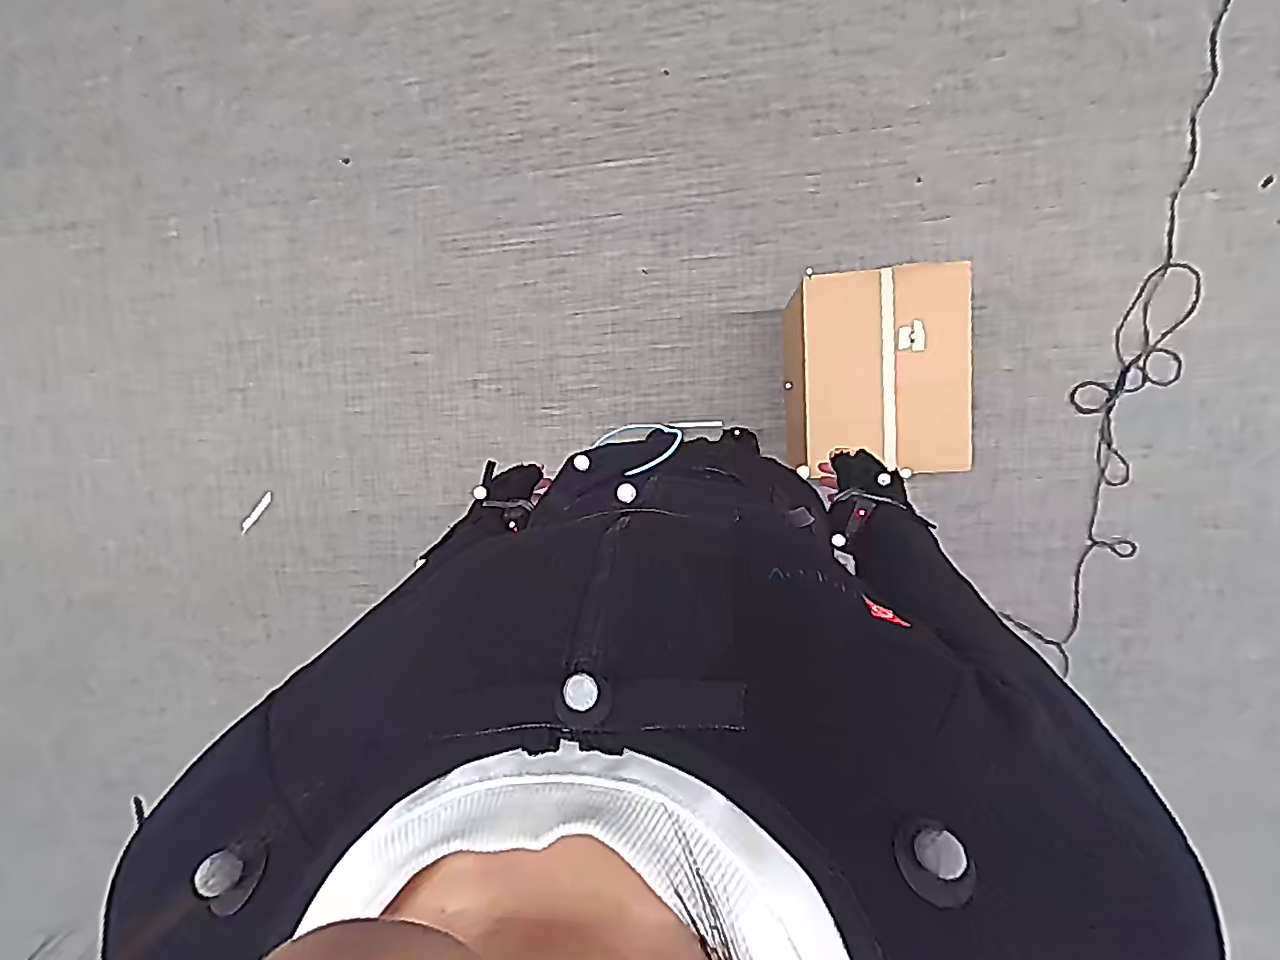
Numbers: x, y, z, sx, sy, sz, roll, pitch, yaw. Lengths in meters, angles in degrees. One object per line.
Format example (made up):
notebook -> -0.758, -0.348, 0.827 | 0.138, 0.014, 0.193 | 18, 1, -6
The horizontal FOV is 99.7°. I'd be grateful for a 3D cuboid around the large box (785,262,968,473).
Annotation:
large box -> 0.510, -0.231, 1.230 | 0.320, 0.320, 0.408 | -3, 94, 7
